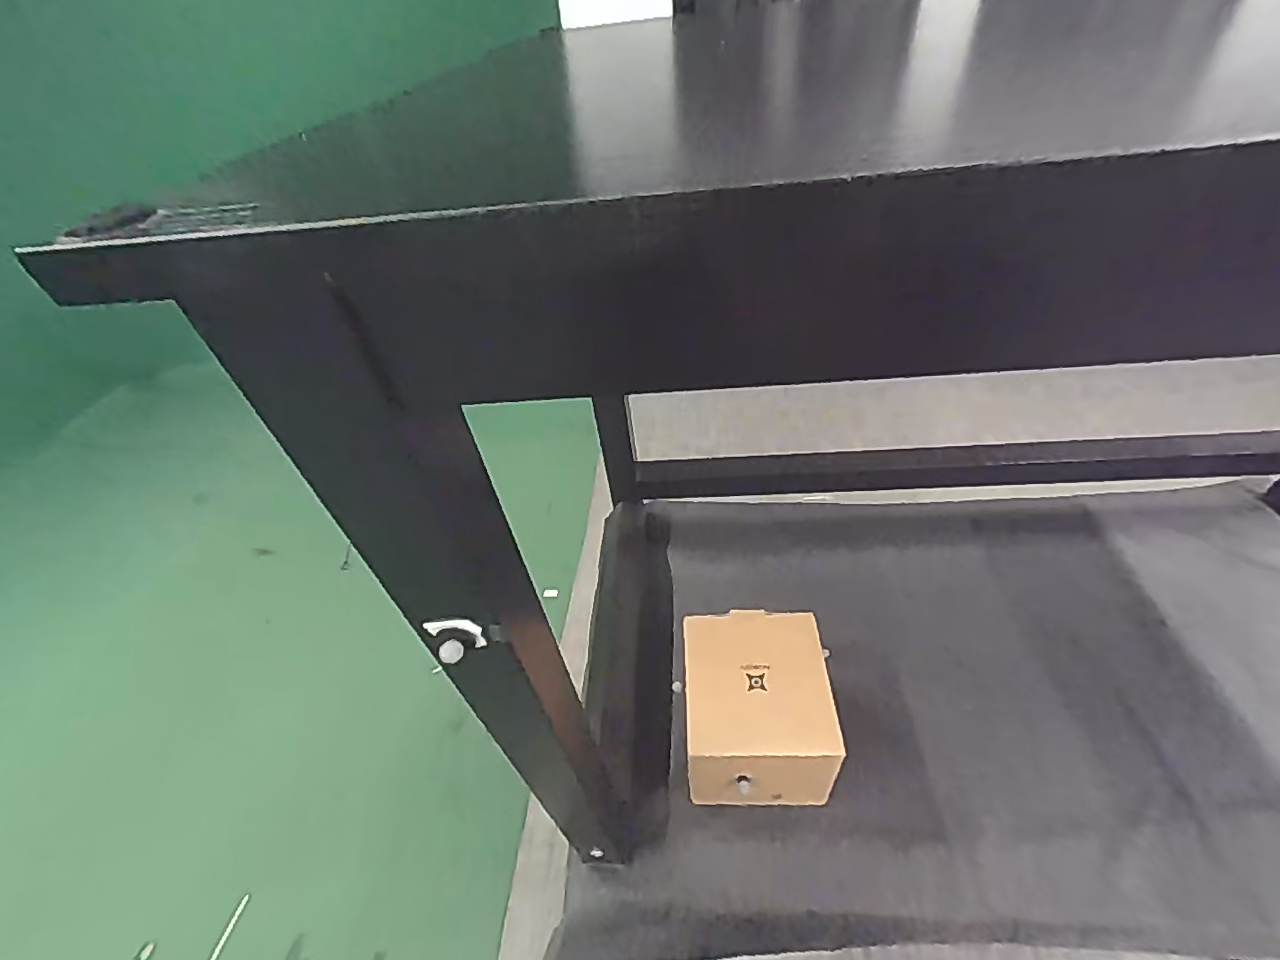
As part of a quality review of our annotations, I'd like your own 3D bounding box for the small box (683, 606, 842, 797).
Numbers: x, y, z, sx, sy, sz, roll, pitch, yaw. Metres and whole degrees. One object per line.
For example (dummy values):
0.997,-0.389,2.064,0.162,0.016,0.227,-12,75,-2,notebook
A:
0.143,0.282,0.681,0.168,0.176,0.179,-3,42,5,small box
